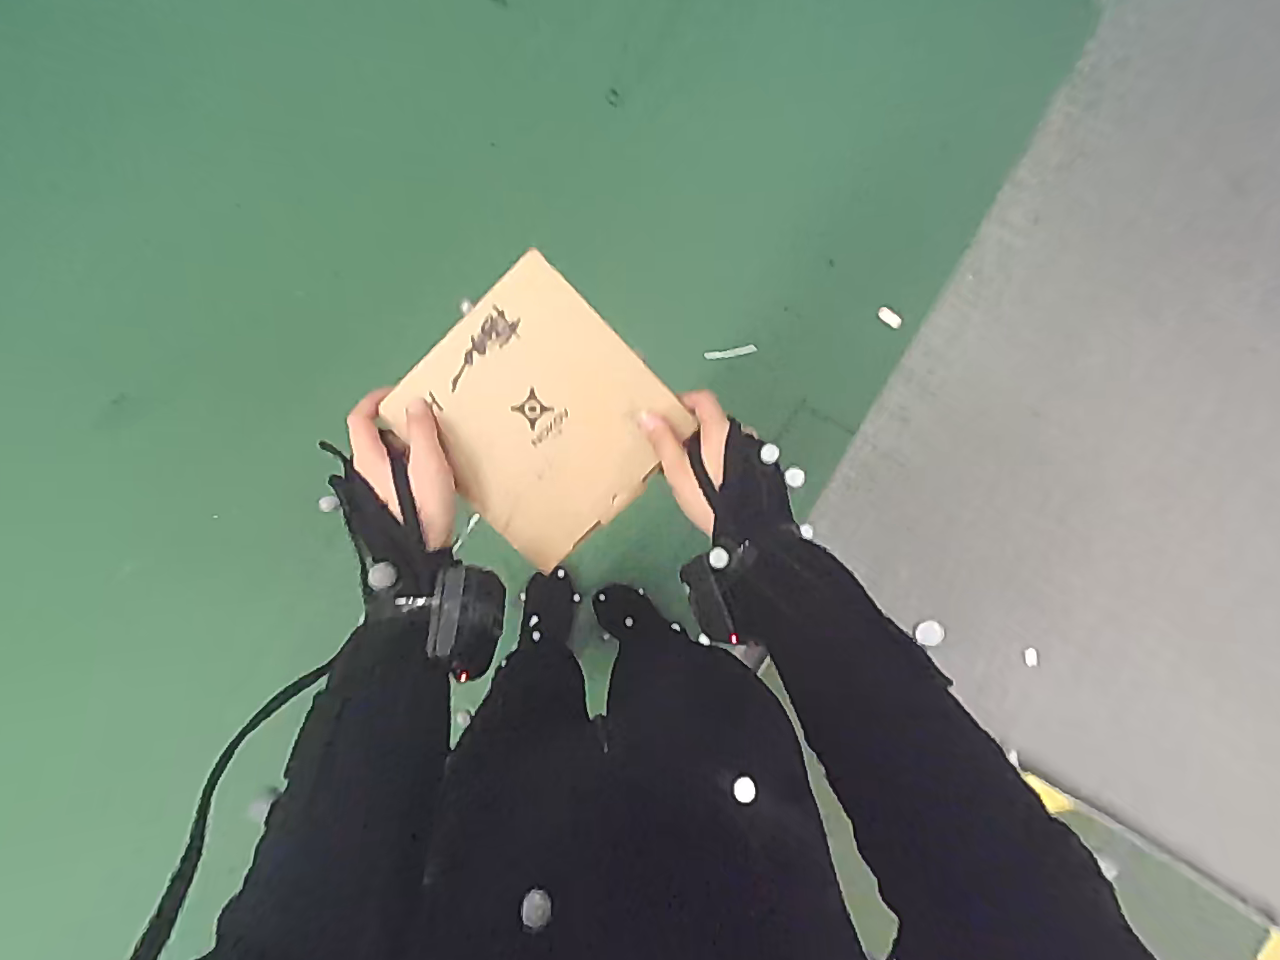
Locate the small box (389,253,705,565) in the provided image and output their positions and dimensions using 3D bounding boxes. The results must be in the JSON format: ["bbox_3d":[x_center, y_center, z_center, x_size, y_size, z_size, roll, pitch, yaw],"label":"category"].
[{"bbox_3d":[-0.070,-0.061,0.477,0.168,0.176,0.179,-43,99,3],"label":"small box"}]
